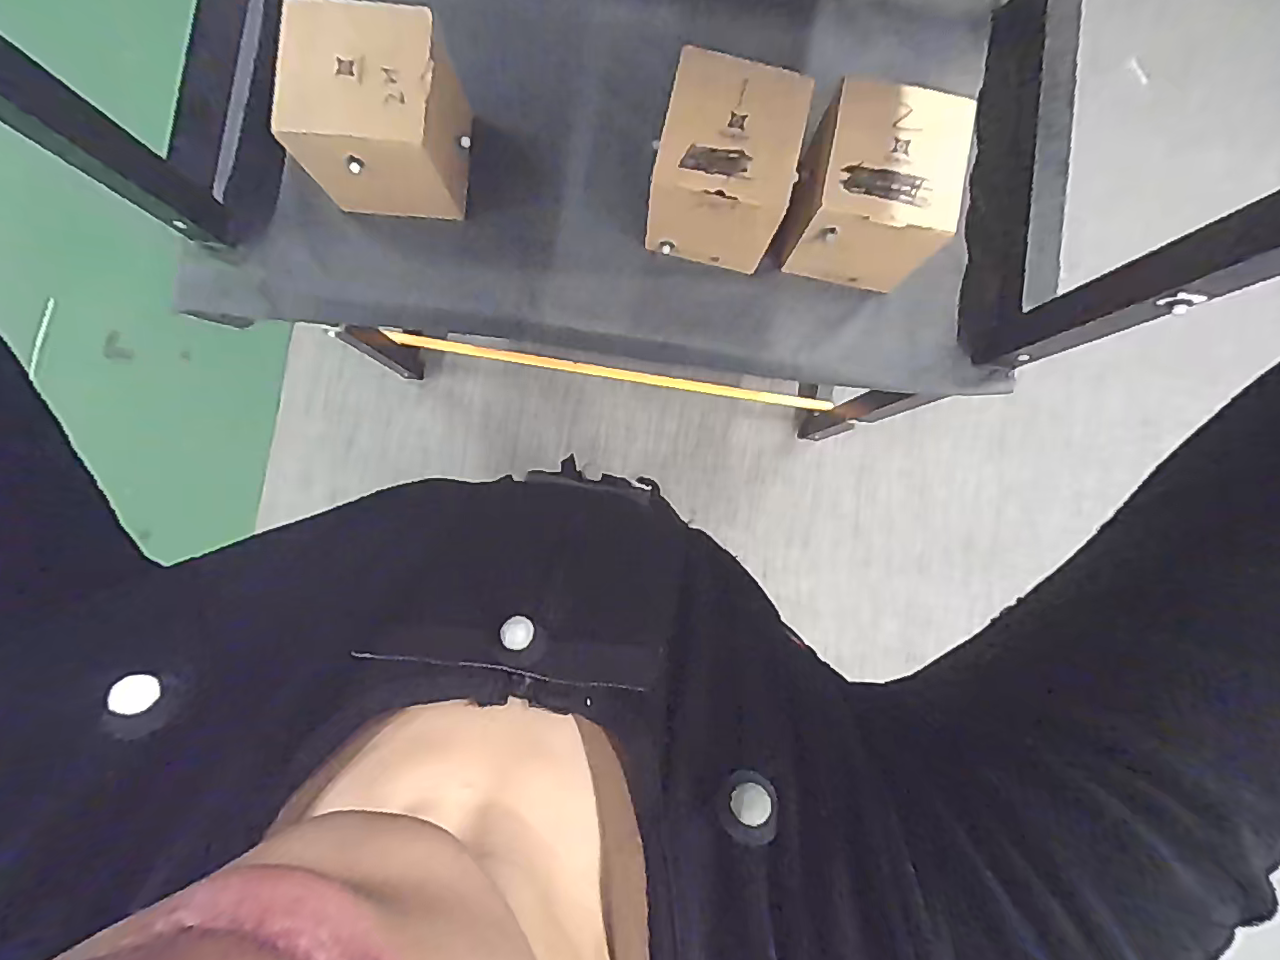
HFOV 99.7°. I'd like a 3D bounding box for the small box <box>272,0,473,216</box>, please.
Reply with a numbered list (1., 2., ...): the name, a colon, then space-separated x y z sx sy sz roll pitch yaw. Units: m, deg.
1. small box: -0.333 -0.469 0.706 0.179 0.176 0.168 4 87 -3
